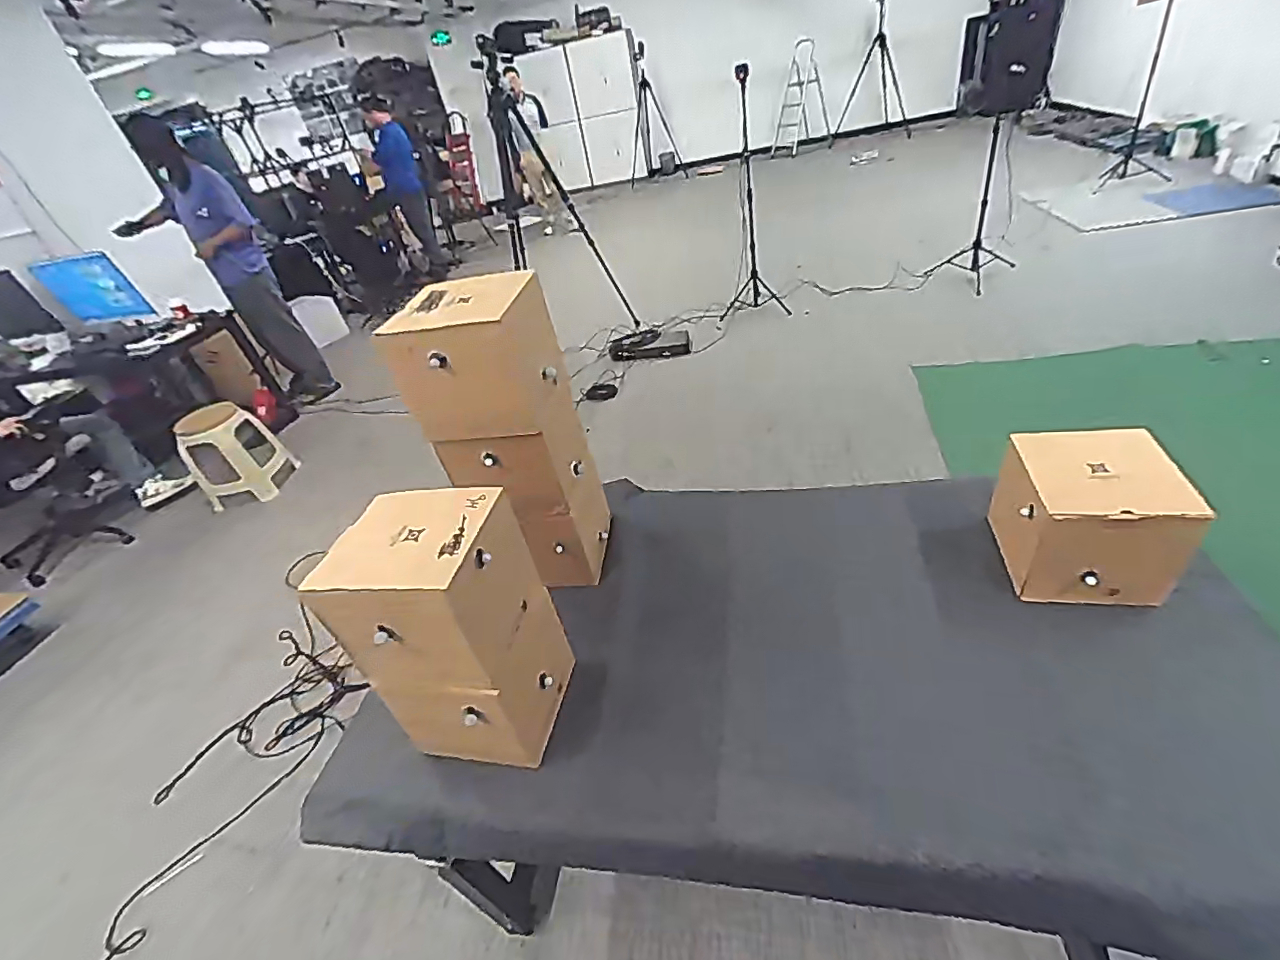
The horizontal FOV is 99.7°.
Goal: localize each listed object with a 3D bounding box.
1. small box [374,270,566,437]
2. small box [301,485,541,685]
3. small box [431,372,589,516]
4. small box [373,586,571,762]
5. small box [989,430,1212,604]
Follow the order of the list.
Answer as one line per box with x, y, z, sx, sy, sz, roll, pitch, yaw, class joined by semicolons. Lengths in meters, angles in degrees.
-0.221;-0.173;0.757;0.179;0.176;0.168;-3;41;12;small box
-0.241;0.125;0.644;0.179;0.176;0.168;-4;36;13;small box
-0.194;-0.053;0.866;0.179;0.176;0.168;-4;40;10;small box
-0.210;0.258;0.735;0.179;0.176;0.168;-1;36;15;small box
0.614;0.048;0.755;0.168;0.176;0.179;-1;40;16;small box
